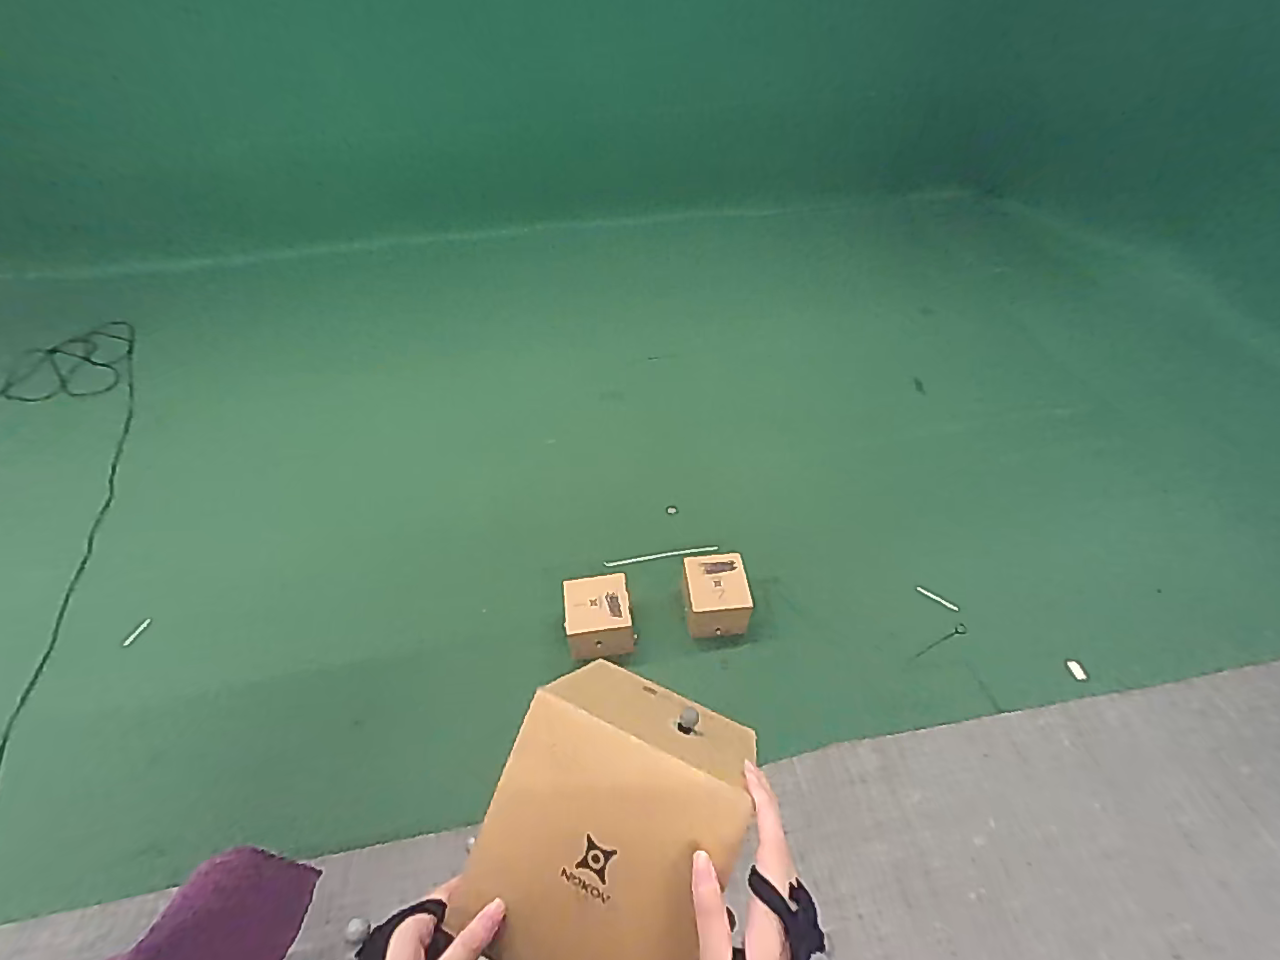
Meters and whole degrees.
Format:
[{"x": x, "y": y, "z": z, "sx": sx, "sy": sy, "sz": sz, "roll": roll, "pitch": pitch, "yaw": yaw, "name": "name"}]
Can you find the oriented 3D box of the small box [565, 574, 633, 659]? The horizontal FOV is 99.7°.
[{"x": -0.114, "y": 0.389, "z": 1.528, "sx": 0.179, "sy": 0.176, "sz": 0.168, "roll": -8, "pitch": 49, "yaw": -3, "name": "small box"}]
